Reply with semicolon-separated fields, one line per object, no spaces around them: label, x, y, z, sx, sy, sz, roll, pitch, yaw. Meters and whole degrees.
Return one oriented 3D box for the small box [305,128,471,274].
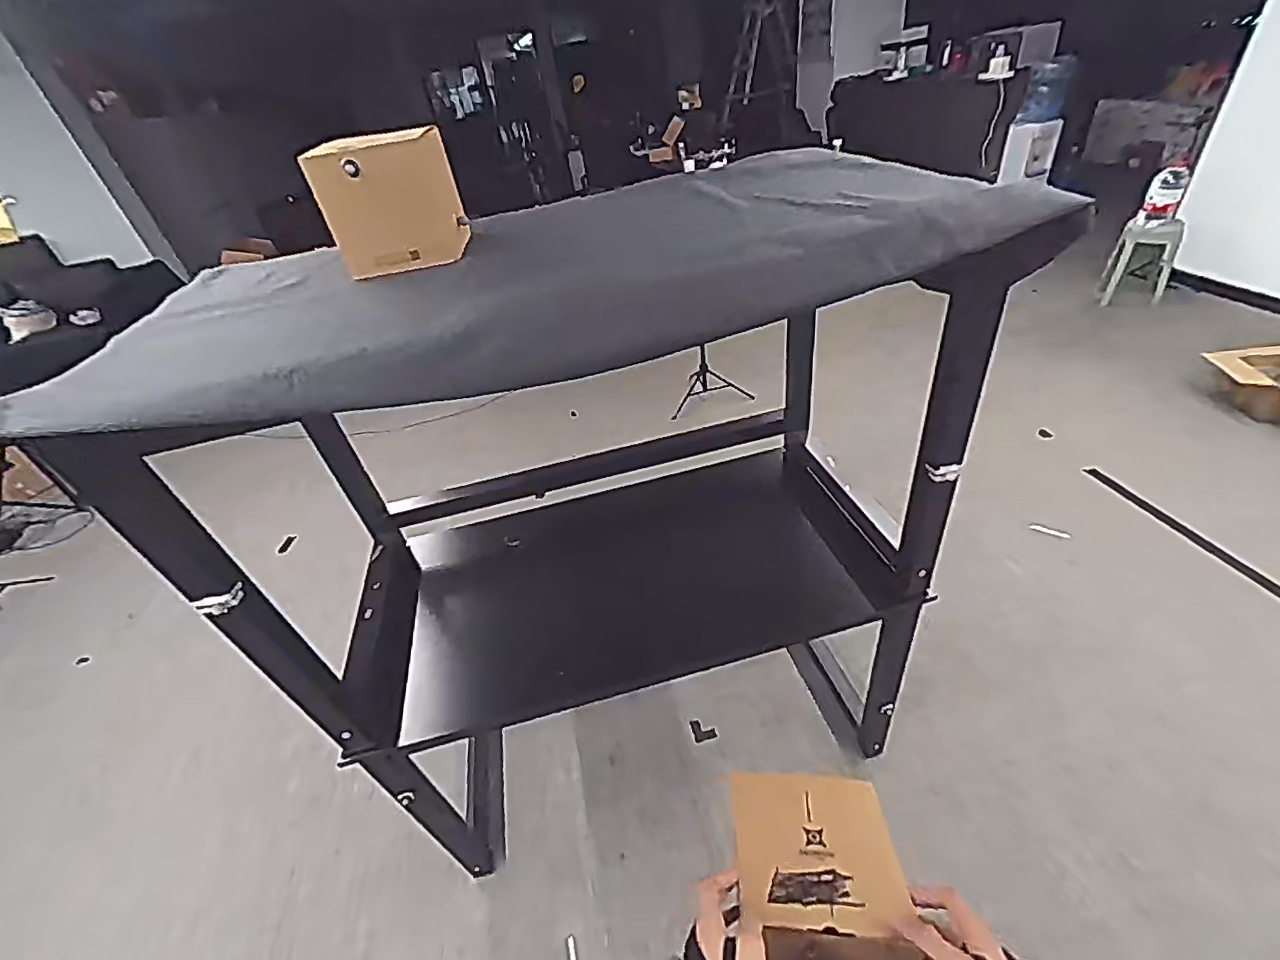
small box;-0.377;-0.439;0.849;0.168;0.176;0.179;-11;37;-1

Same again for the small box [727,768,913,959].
small box;0.182;0.458;0.599;0.168;0.176;0.179;0;19;8
